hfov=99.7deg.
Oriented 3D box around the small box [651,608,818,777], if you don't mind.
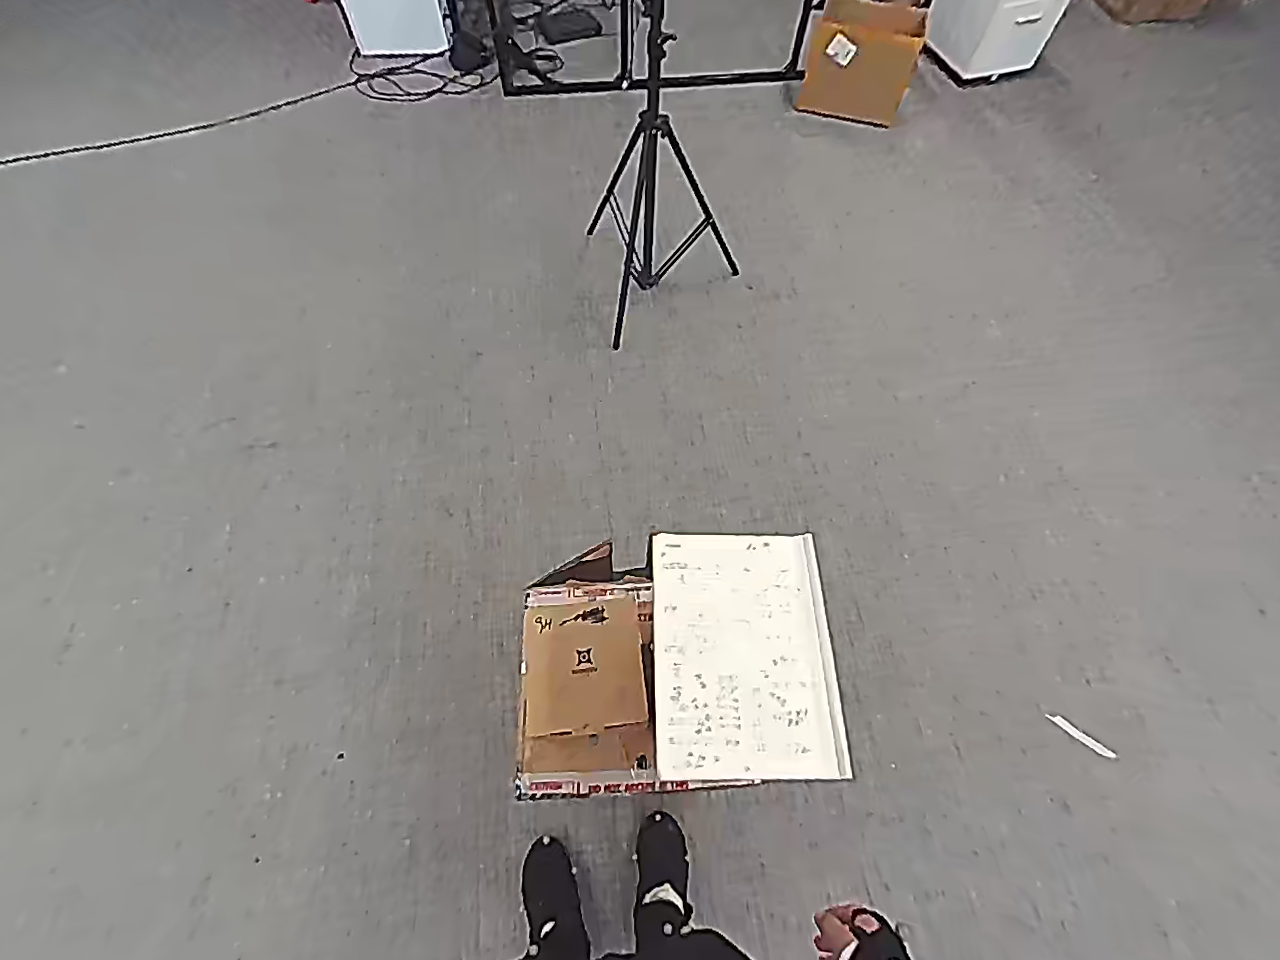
[{"bbox_3d":[0.102,0.266,0.671,0.168,0.176,0.179,2,64,-3],"label":"small box"}]
